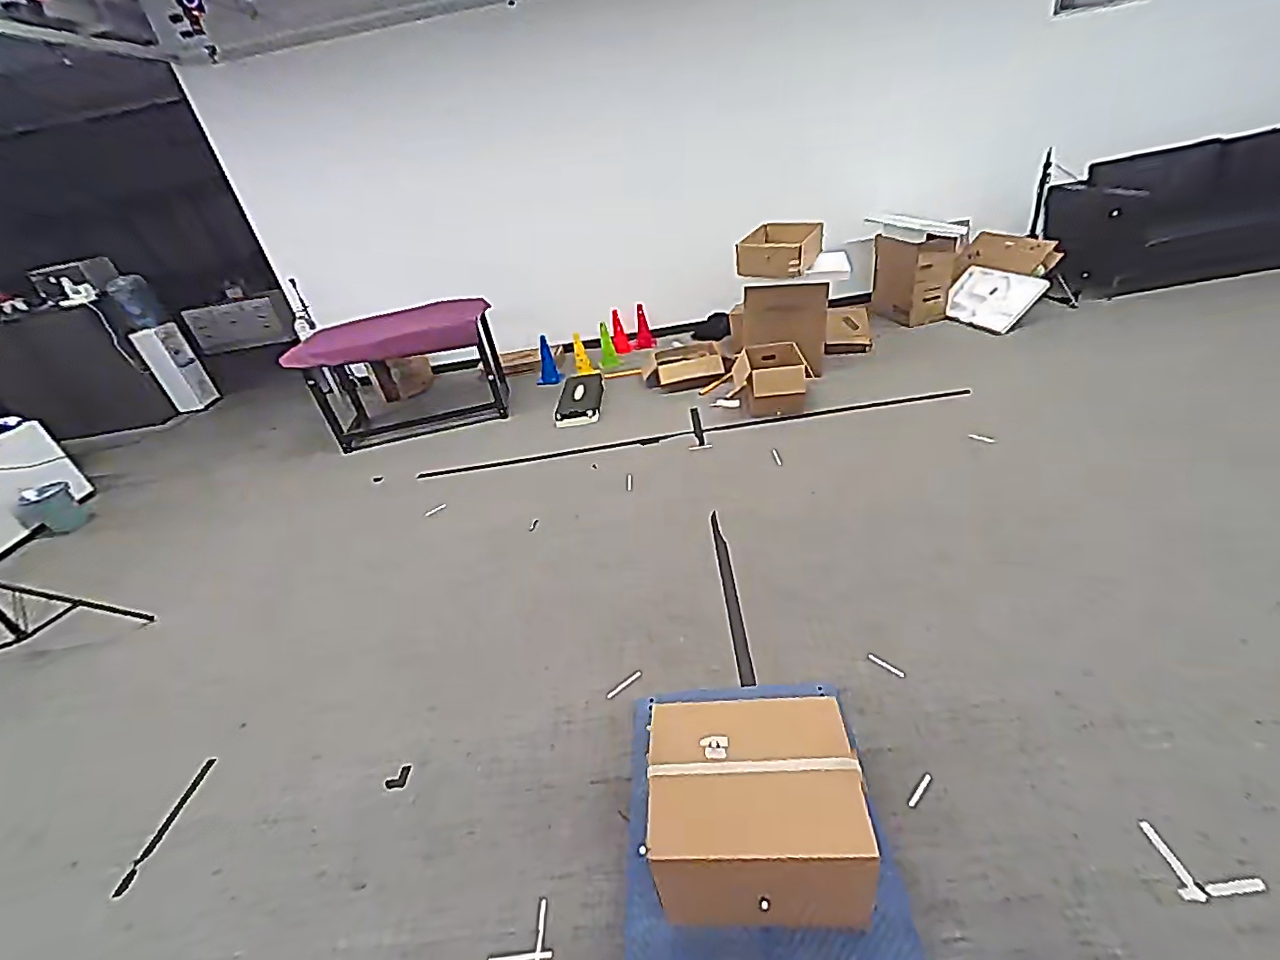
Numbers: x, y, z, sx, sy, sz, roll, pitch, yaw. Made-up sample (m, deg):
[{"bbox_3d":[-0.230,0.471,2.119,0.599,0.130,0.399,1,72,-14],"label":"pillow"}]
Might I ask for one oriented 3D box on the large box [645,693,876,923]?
[{"bbox_3d":[0.237,0.687,1.135,0.408,0.320,0.320,-7,31,8],"label":"large box"}]
